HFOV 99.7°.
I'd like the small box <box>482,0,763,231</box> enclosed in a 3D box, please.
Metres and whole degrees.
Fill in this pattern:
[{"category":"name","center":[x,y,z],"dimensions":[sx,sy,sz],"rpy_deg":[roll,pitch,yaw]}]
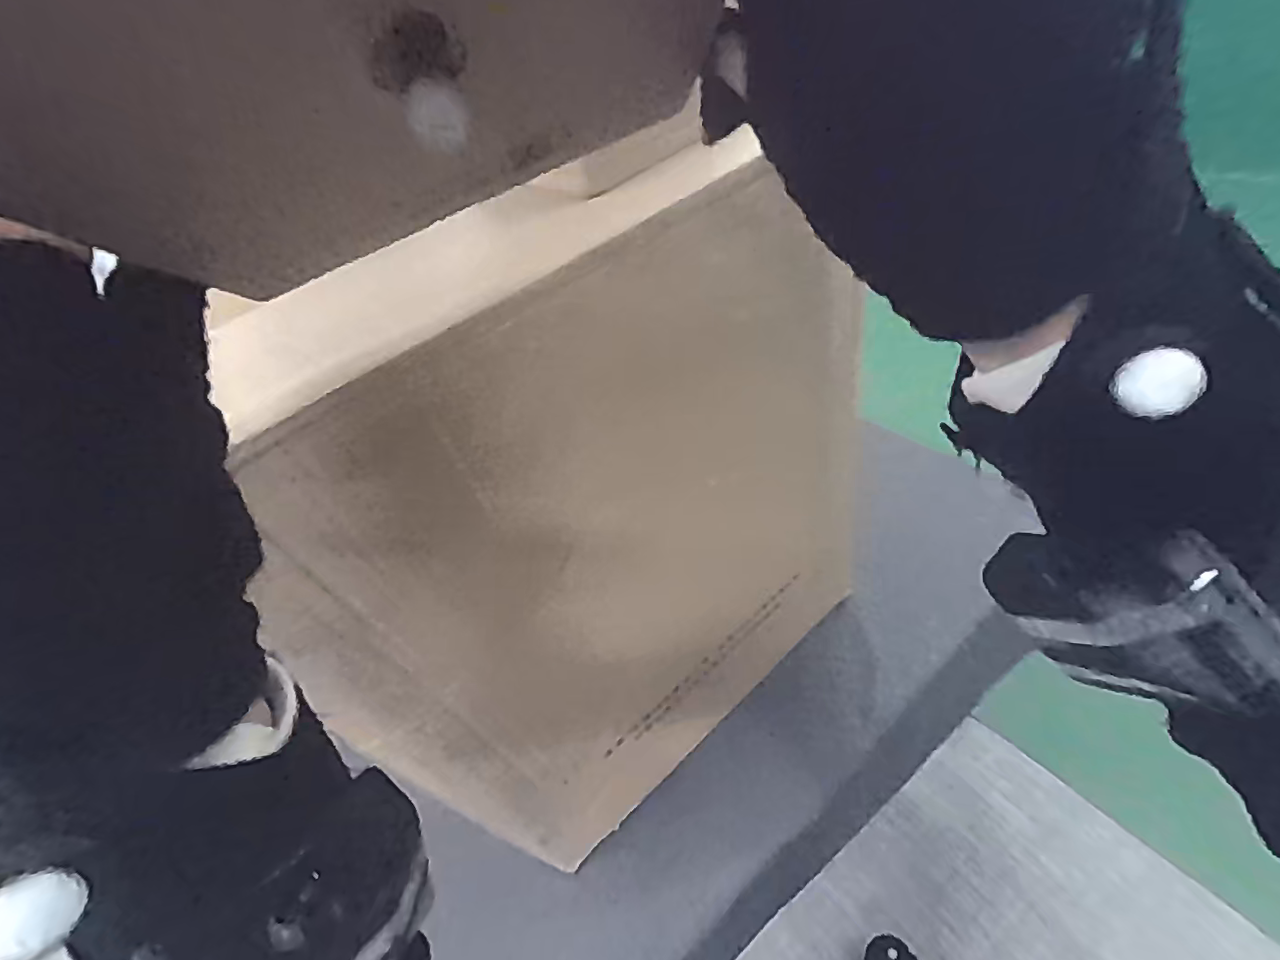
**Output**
[{"category":"small box","center":[-0.032,-0.295,0.365],"dimensions":[0.179,0.176,0.168],"rpy_deg":[-39,49,-22]}]

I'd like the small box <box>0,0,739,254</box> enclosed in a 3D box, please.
[{"category":"small box","center":[-0.073,-0.161,0.097],"dimensions":[0.168,0.179,0.176],"rpy_deg":[-25,10,-3]}]
